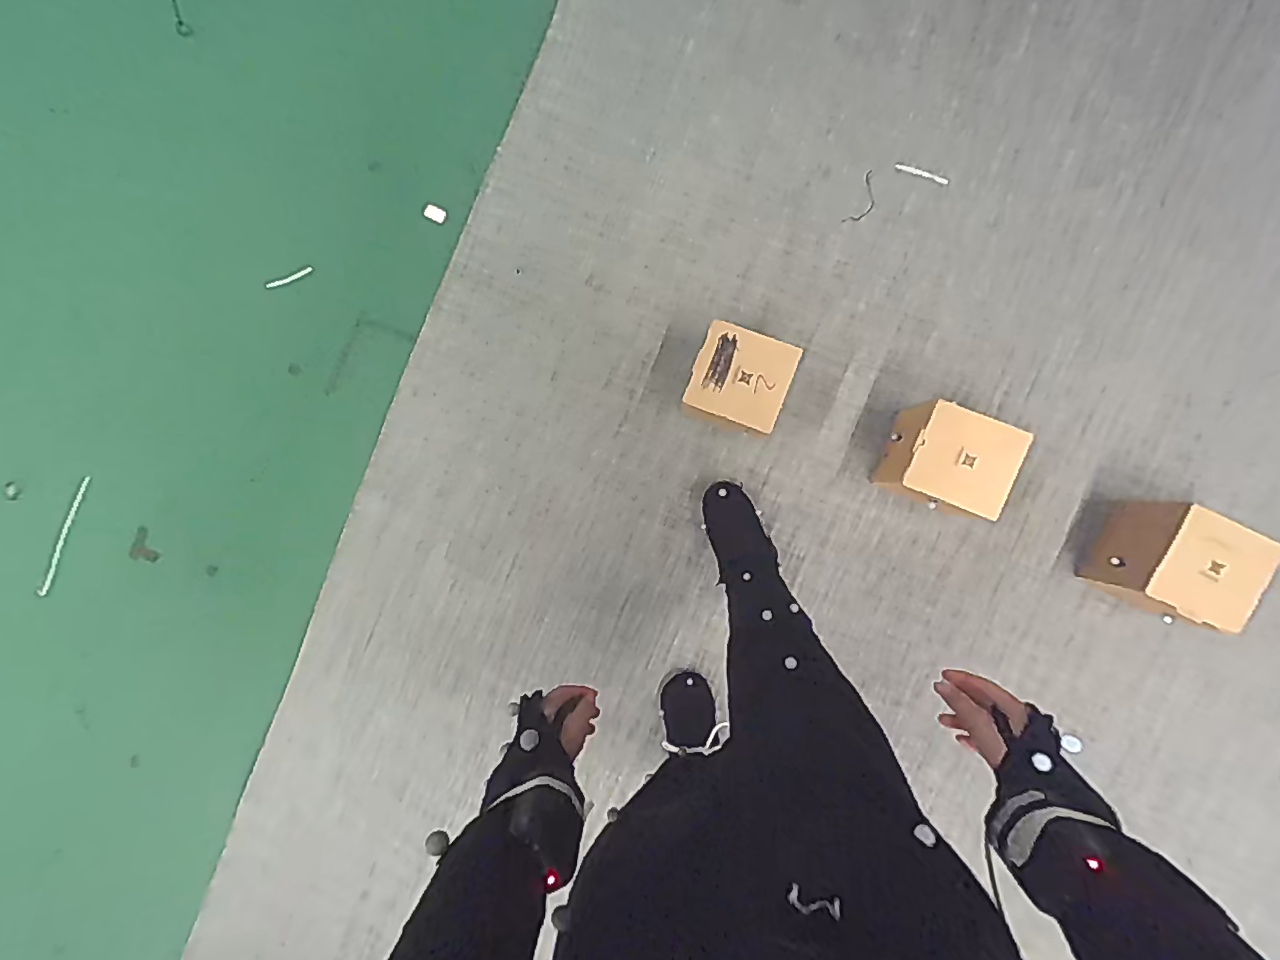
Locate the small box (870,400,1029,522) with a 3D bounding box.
[{"bbox_3d":[0.571,-0.035,1.022,0.179,0.176,0.168,23,92,6],"label":"small box"}]

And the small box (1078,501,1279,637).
[{"bbox_3d":[0.958,0.151,0.985,0.168,0.176,0.179,27,91,4],"label":"small box"}]
